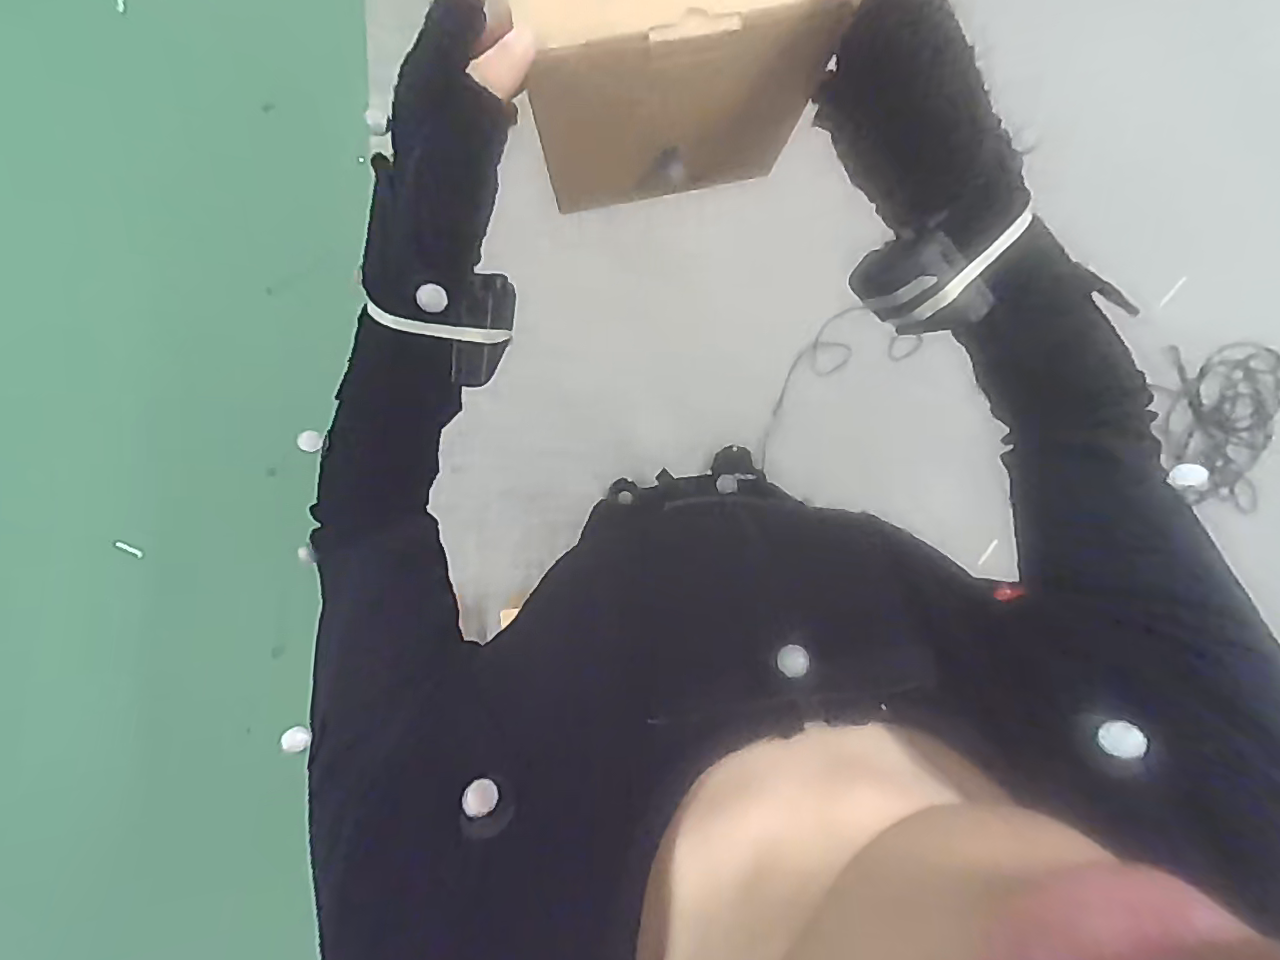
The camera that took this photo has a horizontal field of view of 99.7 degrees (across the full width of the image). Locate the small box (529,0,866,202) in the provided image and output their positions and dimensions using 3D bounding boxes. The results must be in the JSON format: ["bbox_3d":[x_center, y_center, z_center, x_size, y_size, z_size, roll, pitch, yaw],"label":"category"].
[{"bbox_3d":[0.014,-0.304,0.328,0.168,0.176,0.179,-10,92,-1],"label":"small box"}]
